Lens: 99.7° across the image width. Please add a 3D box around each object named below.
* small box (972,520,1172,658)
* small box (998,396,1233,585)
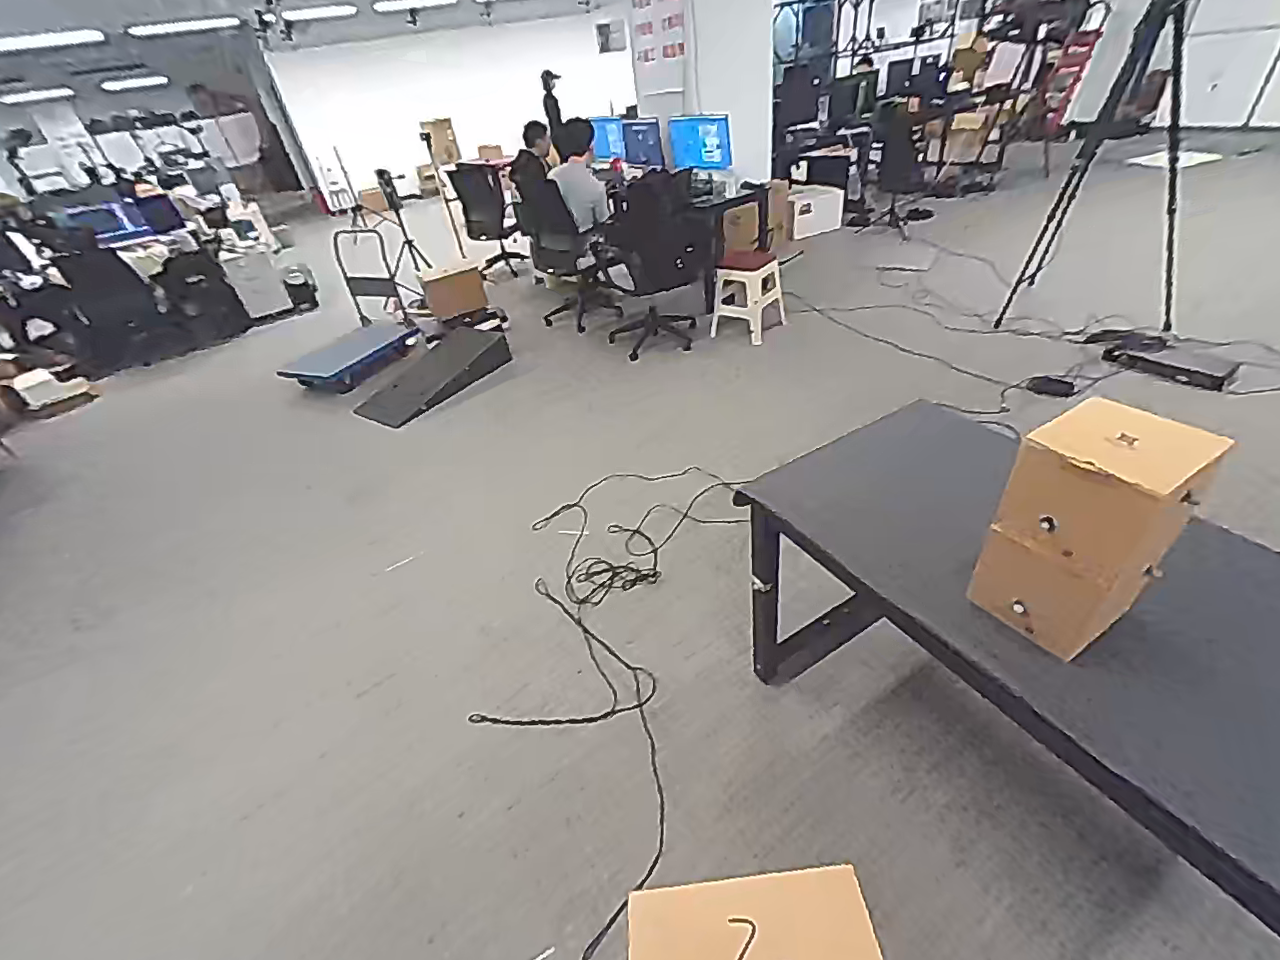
[{"bbox_3d":[0.664,0.140,0.853,0.179,0.176,0.168,-25,39,-20],"label":"small box"},{"bbox_3d":[0.644,0.011,0.756,0.179,0.176,0.168,-25,40,-20],"label":"small box"}]
